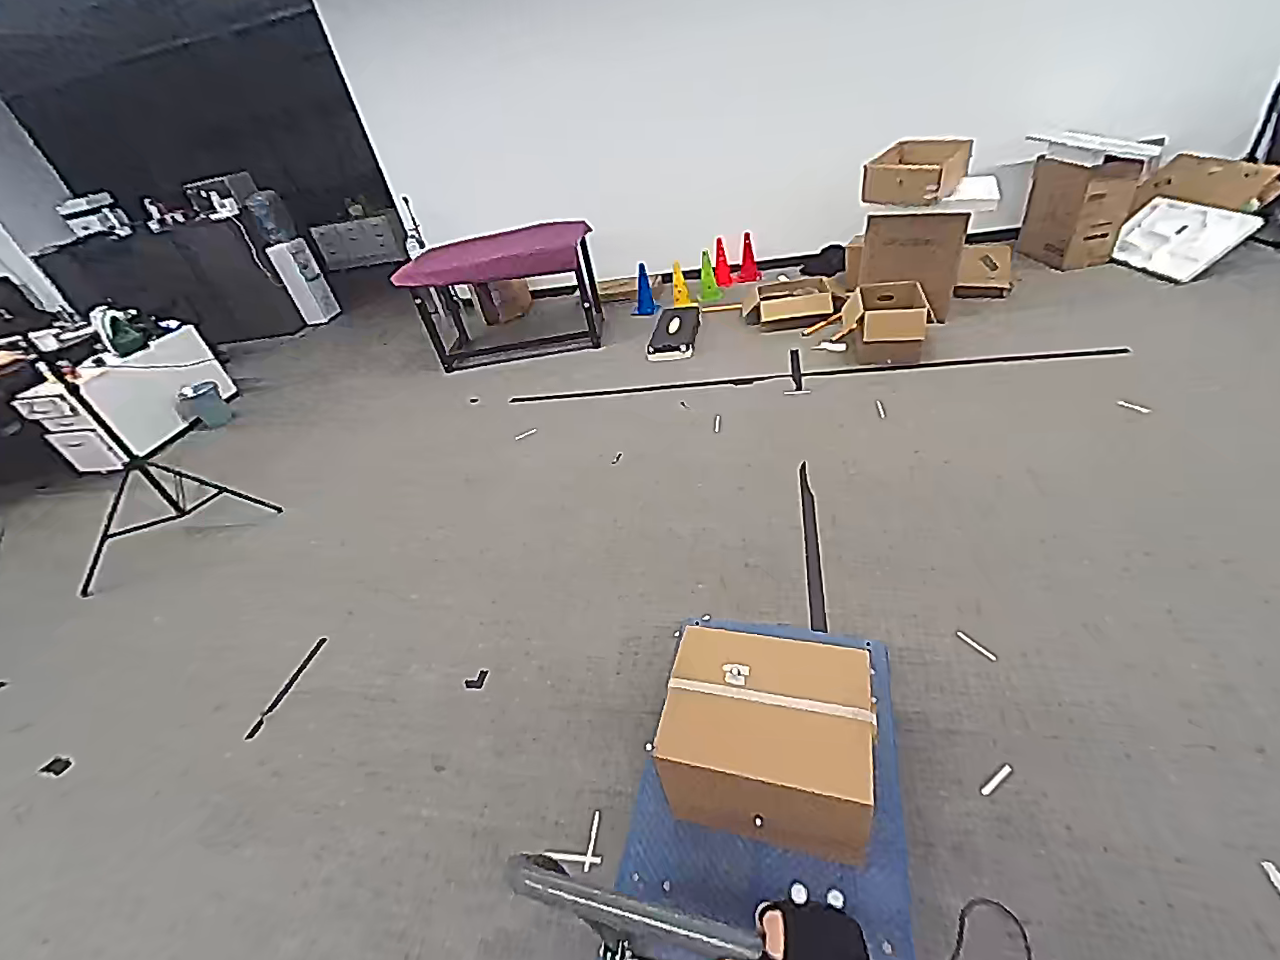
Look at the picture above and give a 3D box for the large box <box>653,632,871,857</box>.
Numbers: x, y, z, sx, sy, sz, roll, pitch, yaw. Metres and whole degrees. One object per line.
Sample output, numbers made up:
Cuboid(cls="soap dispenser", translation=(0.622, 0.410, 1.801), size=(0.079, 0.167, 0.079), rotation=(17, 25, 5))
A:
Cuboid(cls="large box", translation=(0.282, 0.574, 1.202), size=(0.408, 0.320, 0.320), rotation=(1, 38, 19))
